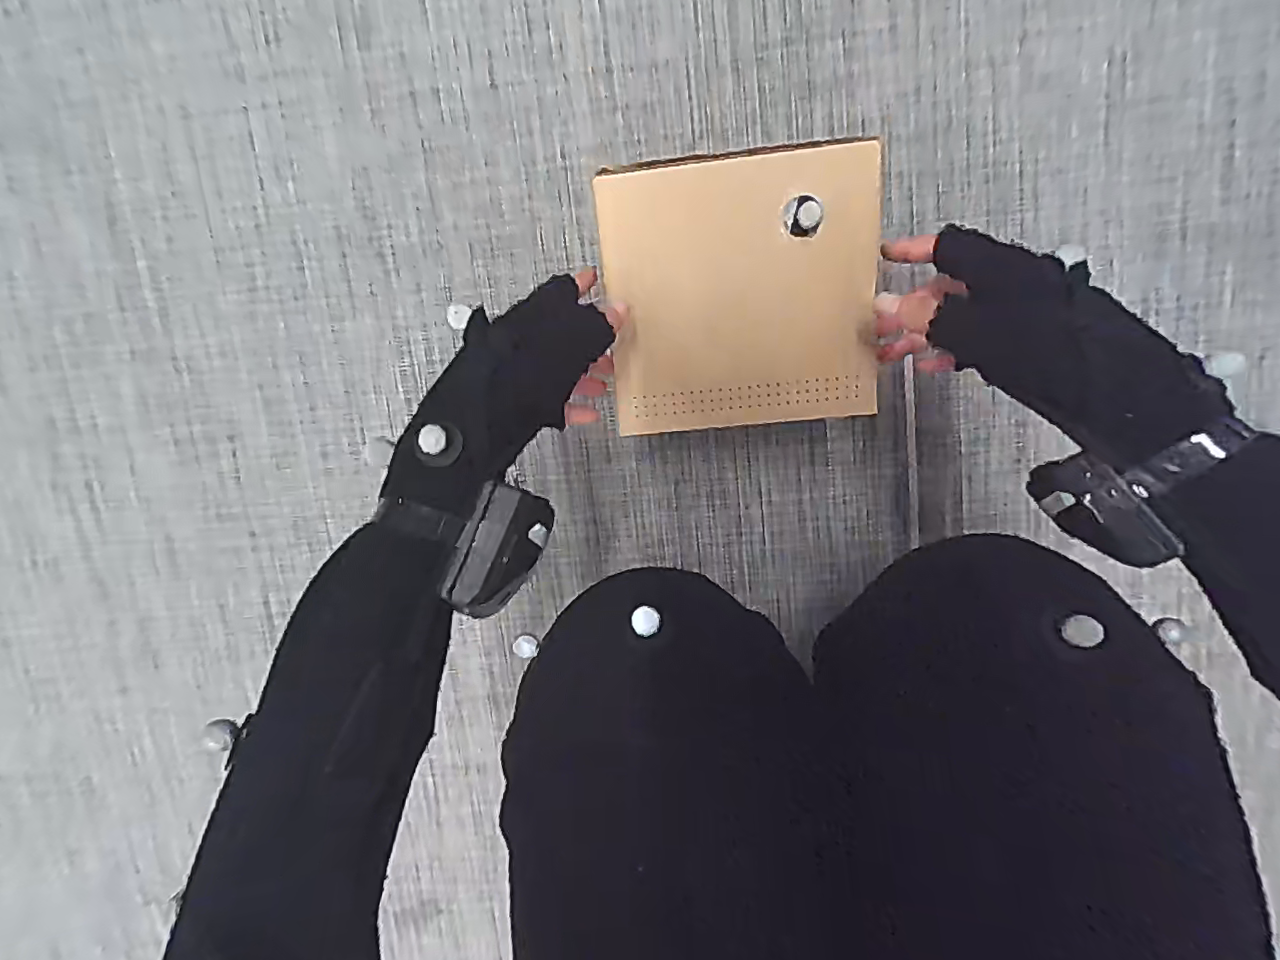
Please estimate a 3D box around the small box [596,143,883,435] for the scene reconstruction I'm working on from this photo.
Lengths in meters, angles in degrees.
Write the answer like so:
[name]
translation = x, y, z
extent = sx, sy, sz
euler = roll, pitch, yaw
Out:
[small box]
translation = 0.072, -0.135, 0.424
extent = 0.179, 0.168, 0.176
euler = -4, 104, 5
